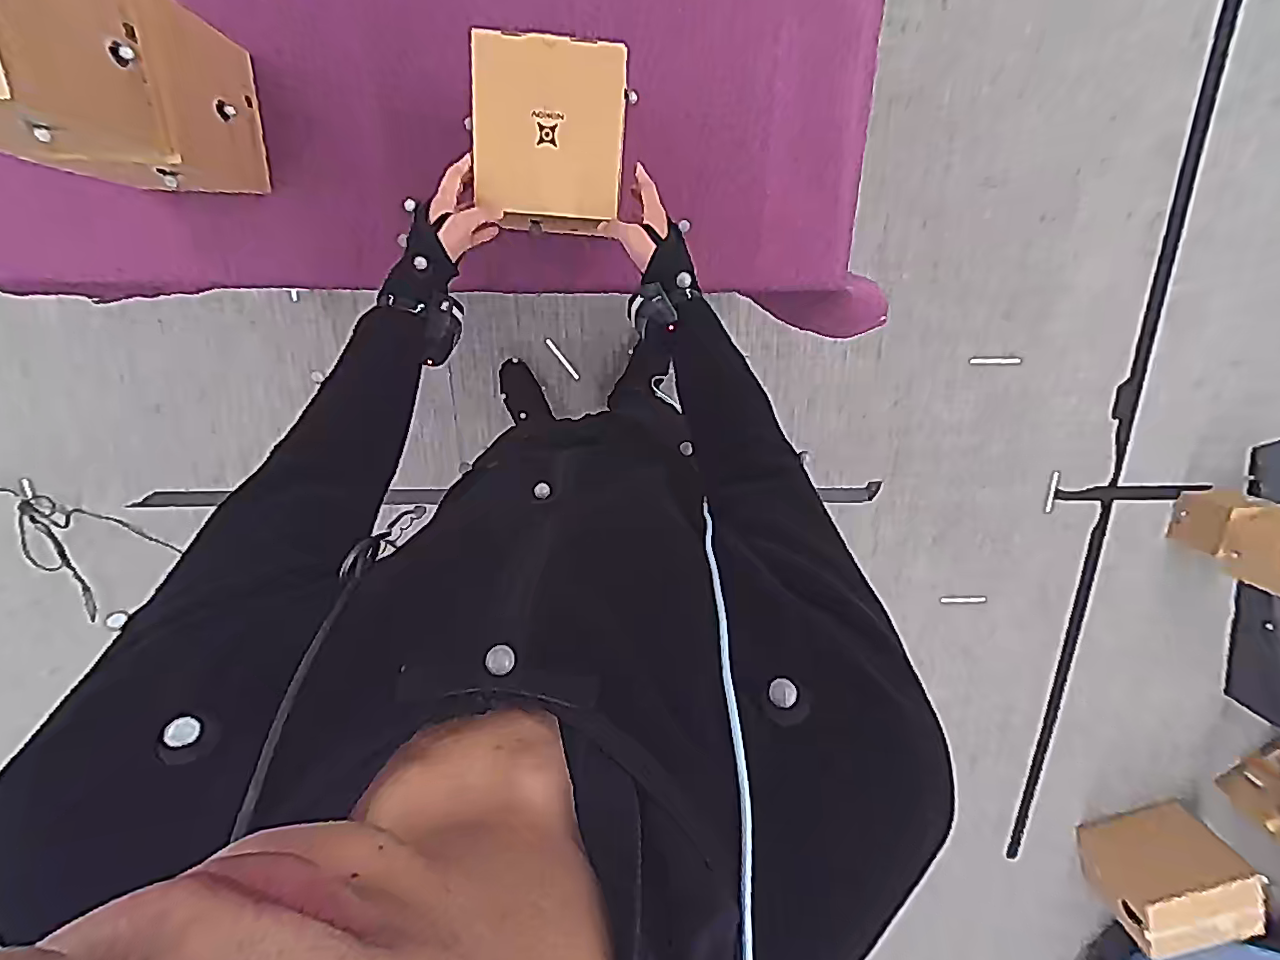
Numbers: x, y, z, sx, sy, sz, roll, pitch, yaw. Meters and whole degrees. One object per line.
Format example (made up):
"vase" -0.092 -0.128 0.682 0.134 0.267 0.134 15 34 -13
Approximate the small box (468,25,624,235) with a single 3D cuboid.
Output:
"small box" -0.107 -0.410 0.668 0.168 0.176 0.179 3 107 -3

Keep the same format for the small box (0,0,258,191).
"small box" -0.585 -0.447 0.631 0.179 0.176 0.168 1 108 -3
